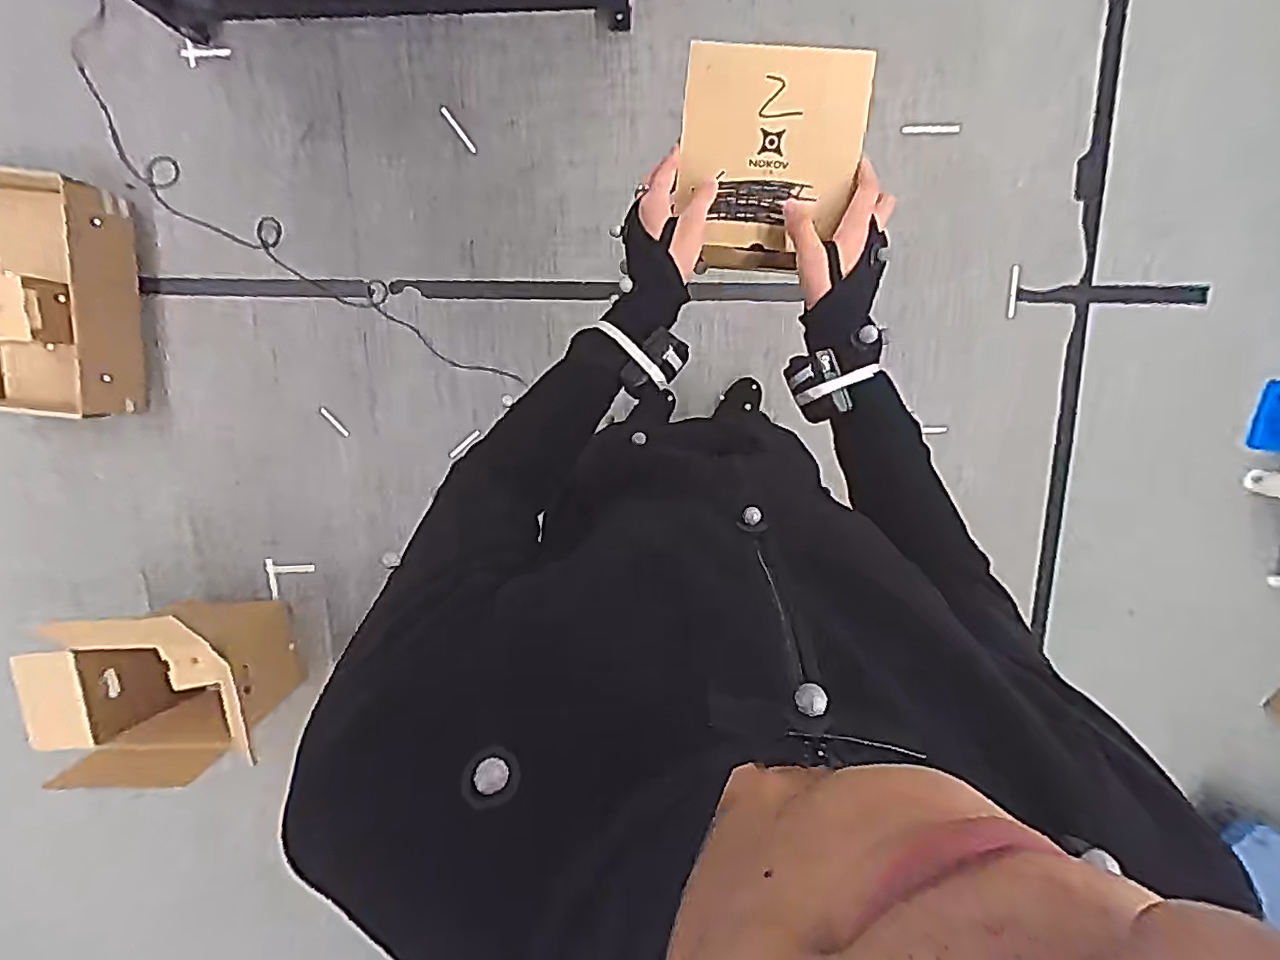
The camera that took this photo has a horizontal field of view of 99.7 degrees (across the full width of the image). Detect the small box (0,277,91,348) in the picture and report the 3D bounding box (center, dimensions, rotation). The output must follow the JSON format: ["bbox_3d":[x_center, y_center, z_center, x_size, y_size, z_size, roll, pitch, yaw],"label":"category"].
[{"bbox_3d":[-1.645,-0.450,1.460,0.179,0.176,0.168,1,99,1],"label":"small box"}]
